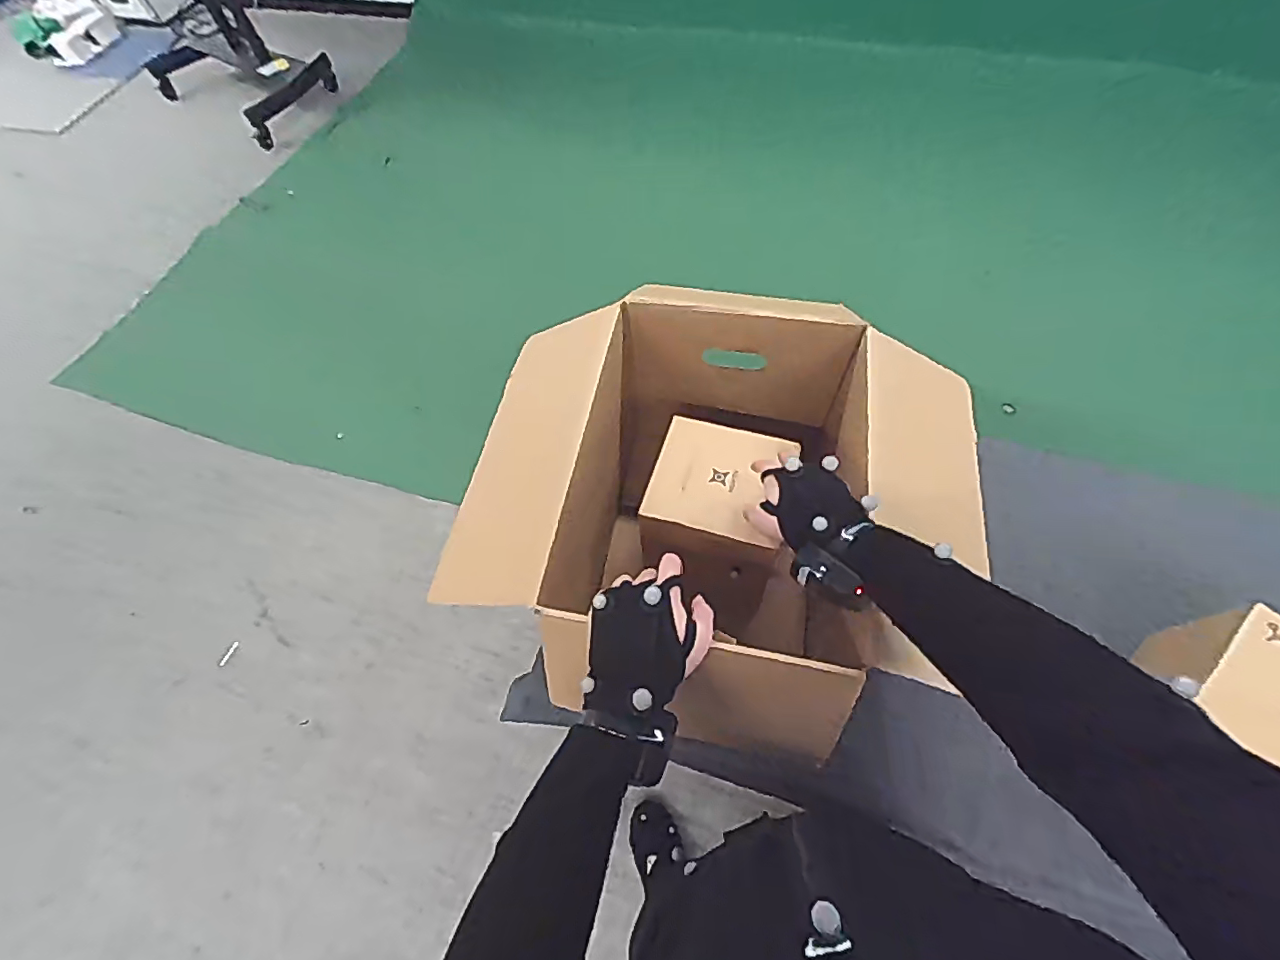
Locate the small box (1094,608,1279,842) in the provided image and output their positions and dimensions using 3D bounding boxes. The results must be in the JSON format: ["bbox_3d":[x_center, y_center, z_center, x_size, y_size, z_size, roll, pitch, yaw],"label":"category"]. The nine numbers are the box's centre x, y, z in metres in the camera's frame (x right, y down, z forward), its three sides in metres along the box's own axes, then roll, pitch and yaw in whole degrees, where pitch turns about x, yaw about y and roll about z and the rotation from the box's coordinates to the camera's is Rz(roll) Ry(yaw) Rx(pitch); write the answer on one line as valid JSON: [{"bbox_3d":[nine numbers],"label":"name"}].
[{"bbox_3d":[0.679,0.283,0.617,0.179,0.176,0.168,-37,64,-15],"label":"small box"}]
